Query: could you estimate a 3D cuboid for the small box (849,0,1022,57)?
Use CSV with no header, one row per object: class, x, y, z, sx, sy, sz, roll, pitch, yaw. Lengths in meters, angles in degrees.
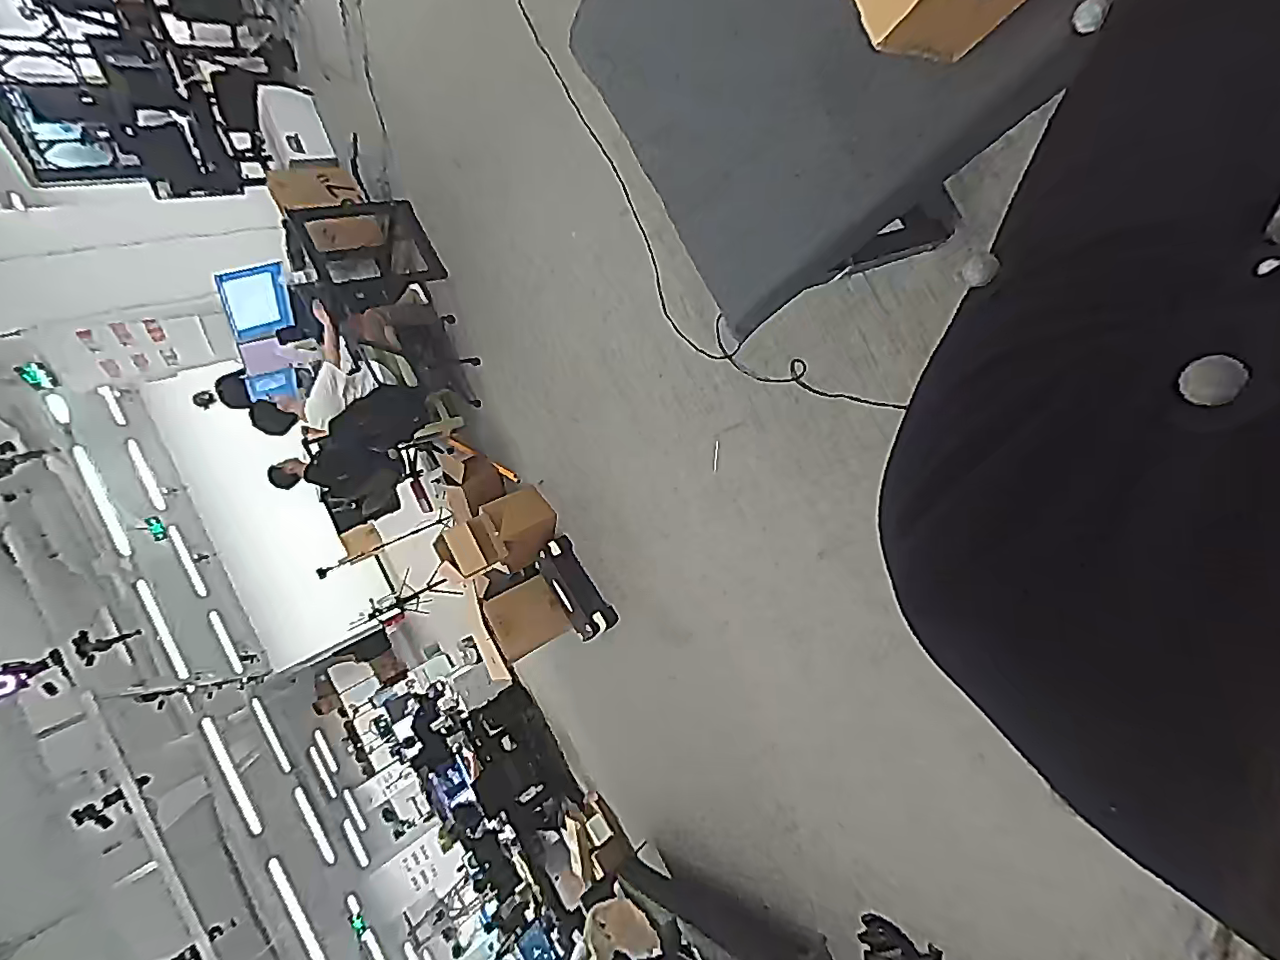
small box,0.285,-0.508,0.463,0.179,0.176,0.168,-25,90,57
